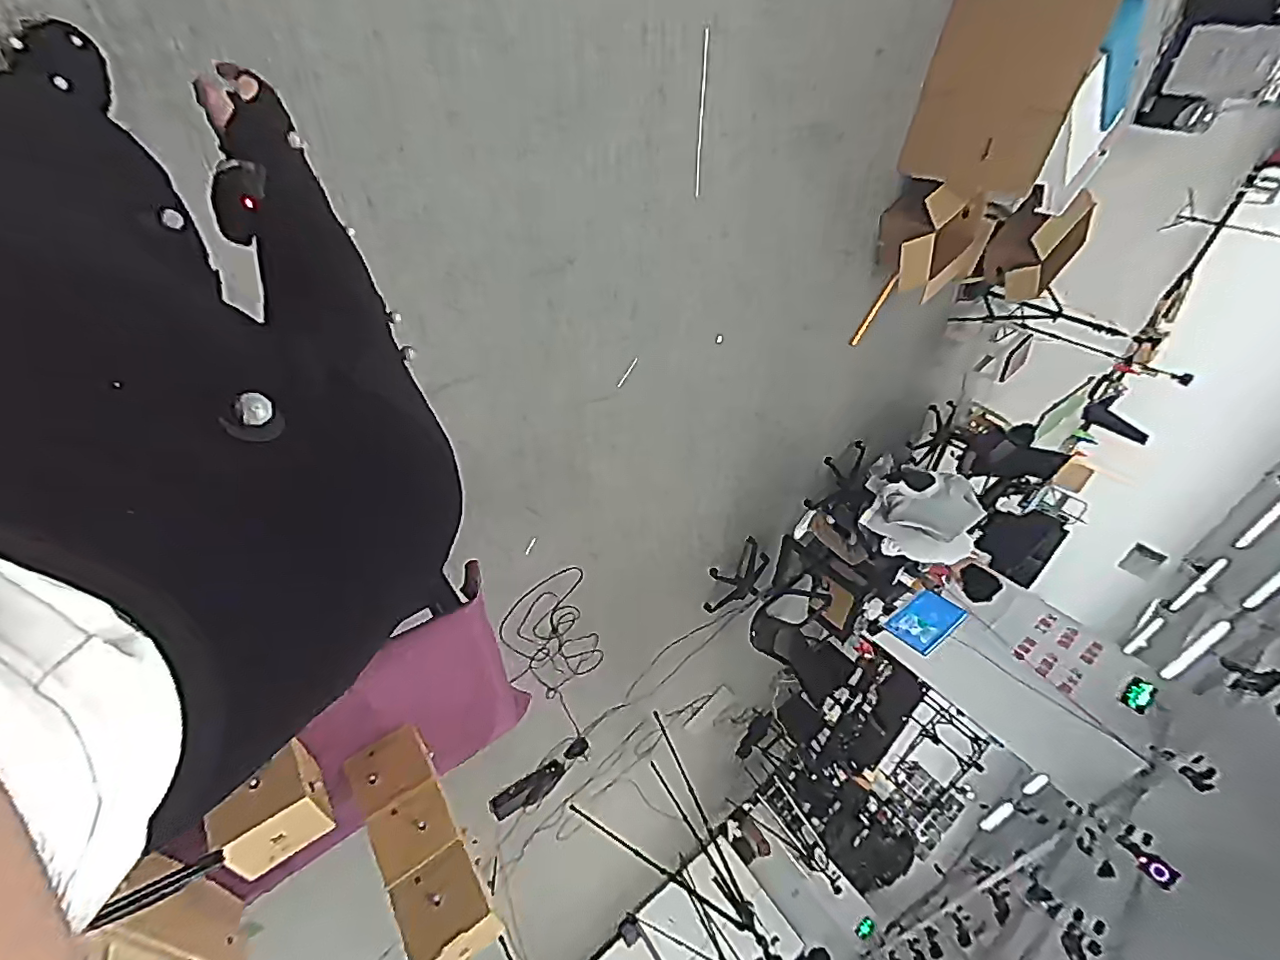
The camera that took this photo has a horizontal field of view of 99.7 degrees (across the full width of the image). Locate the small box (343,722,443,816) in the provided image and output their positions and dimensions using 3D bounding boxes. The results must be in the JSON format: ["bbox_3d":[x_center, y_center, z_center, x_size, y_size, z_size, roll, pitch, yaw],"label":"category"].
[{"bbox_3d":[-0.624,0.751,1.372,0.168,0.176,0.179,-26,138,-27],"label":"small box"}]

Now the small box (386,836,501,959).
[{"bbox_3d":[-0.427,0.923,1.178,0.168,0.176,0.179,-26,137,-26],"label":"small box"}]

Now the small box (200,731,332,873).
[{"bbox_3d":[-0.779,0.662,1.128,0.168,0.176,0.179,-25,138,-28],"label":"small box"}]

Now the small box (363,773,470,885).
[{"bbox_3d":[-0.526,0.832,1.273,0.168,0.176,0.179,-26,138,-27],"label":"small box"}]
